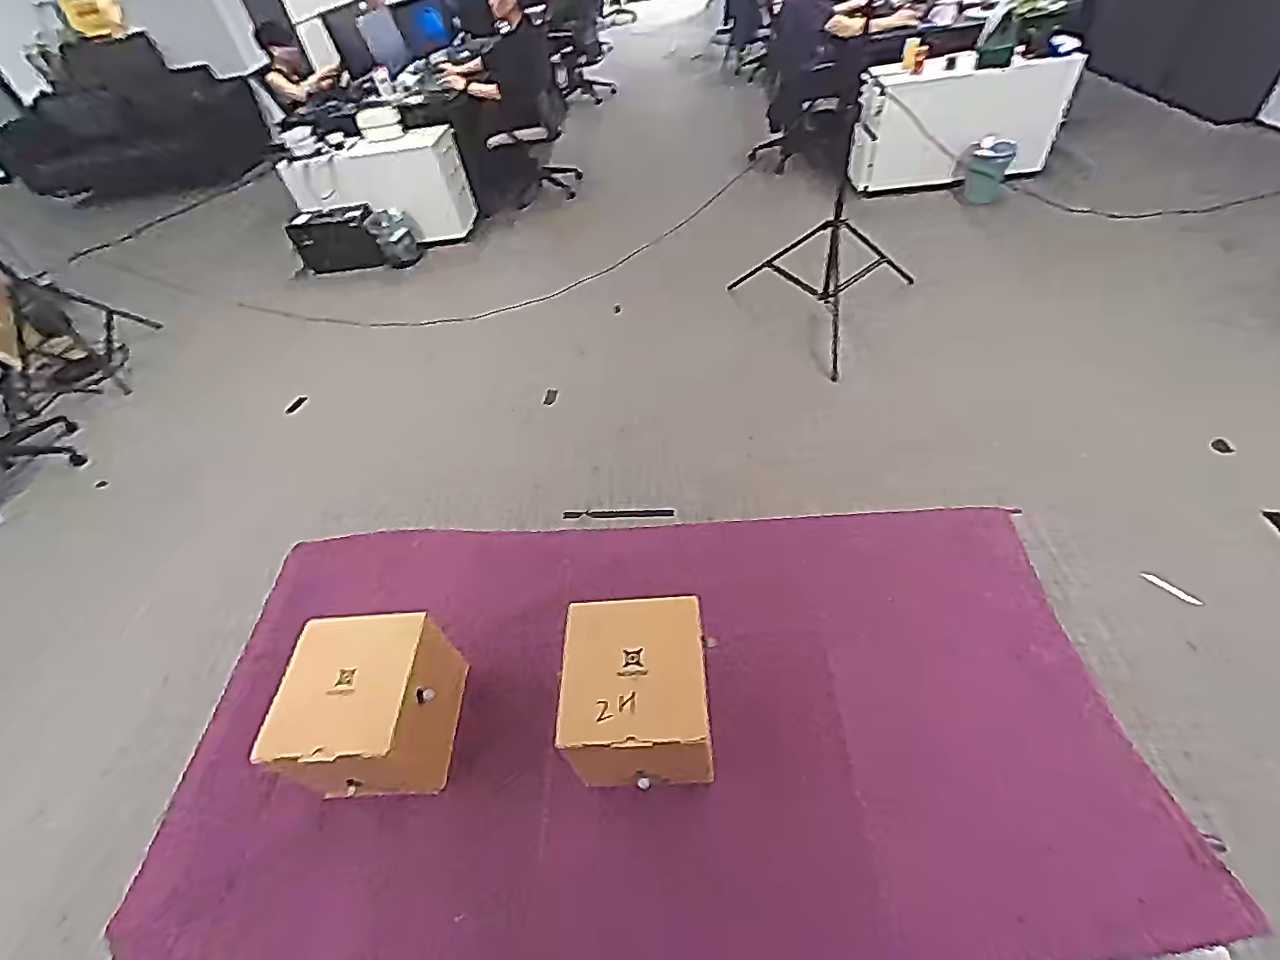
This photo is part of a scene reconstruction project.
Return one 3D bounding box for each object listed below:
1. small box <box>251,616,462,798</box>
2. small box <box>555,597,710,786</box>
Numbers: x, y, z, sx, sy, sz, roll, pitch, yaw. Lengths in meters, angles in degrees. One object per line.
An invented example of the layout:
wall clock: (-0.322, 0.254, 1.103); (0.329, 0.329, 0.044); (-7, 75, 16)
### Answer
small box: (-0.351, 0.302, 0.716); (0.168, 0.176, 0.179); (-5, 49, 4)
small box: (-0.001, 0.270, 0.686); (0.168, 0.176, 0.179); (-5, 48, 6)
